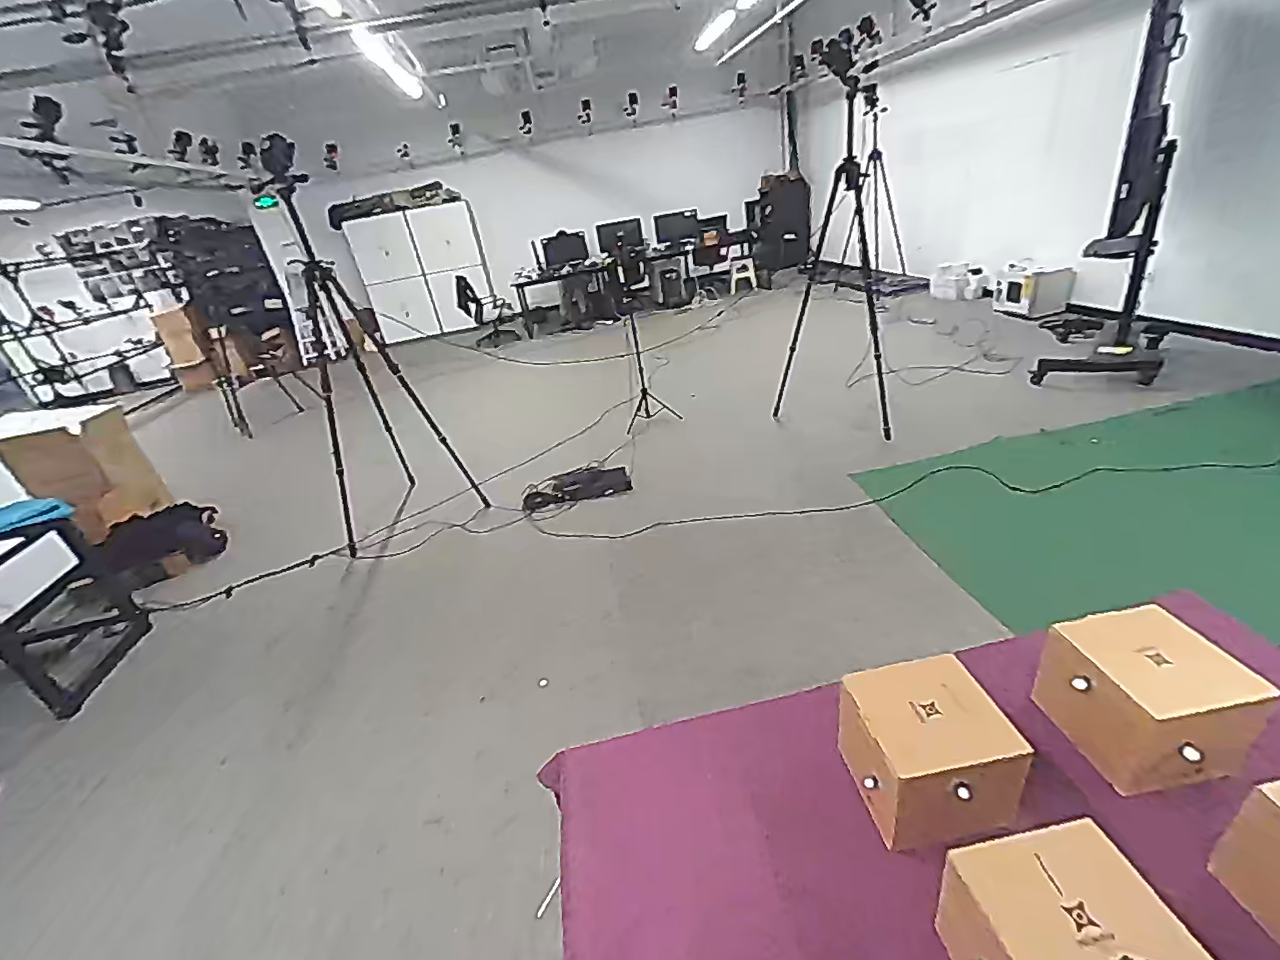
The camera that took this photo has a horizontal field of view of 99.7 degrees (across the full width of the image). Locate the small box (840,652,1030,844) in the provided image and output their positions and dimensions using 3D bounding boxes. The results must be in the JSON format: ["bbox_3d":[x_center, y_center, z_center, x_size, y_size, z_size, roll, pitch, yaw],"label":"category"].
[{"bbox_3d":[0.403,0.379,0.767,0.179,0.176,0.168,-11,28,-1],"label":"small box"}]

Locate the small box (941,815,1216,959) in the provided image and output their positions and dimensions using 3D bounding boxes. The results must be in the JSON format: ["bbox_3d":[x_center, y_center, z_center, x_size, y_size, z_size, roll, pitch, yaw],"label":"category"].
[{"bbox_3d":[0.434,0.489,0.545,0.168,0.176,0.179,-12,26,-2],"label":"small box"}]

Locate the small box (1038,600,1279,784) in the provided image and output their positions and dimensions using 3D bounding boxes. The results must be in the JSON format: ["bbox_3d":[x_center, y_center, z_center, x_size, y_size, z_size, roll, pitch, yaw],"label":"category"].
[{"bbox_3d":[0.723,0.307,0.779,0.168,0.176,0.179,-12,27,0],"label":"small box"}]
